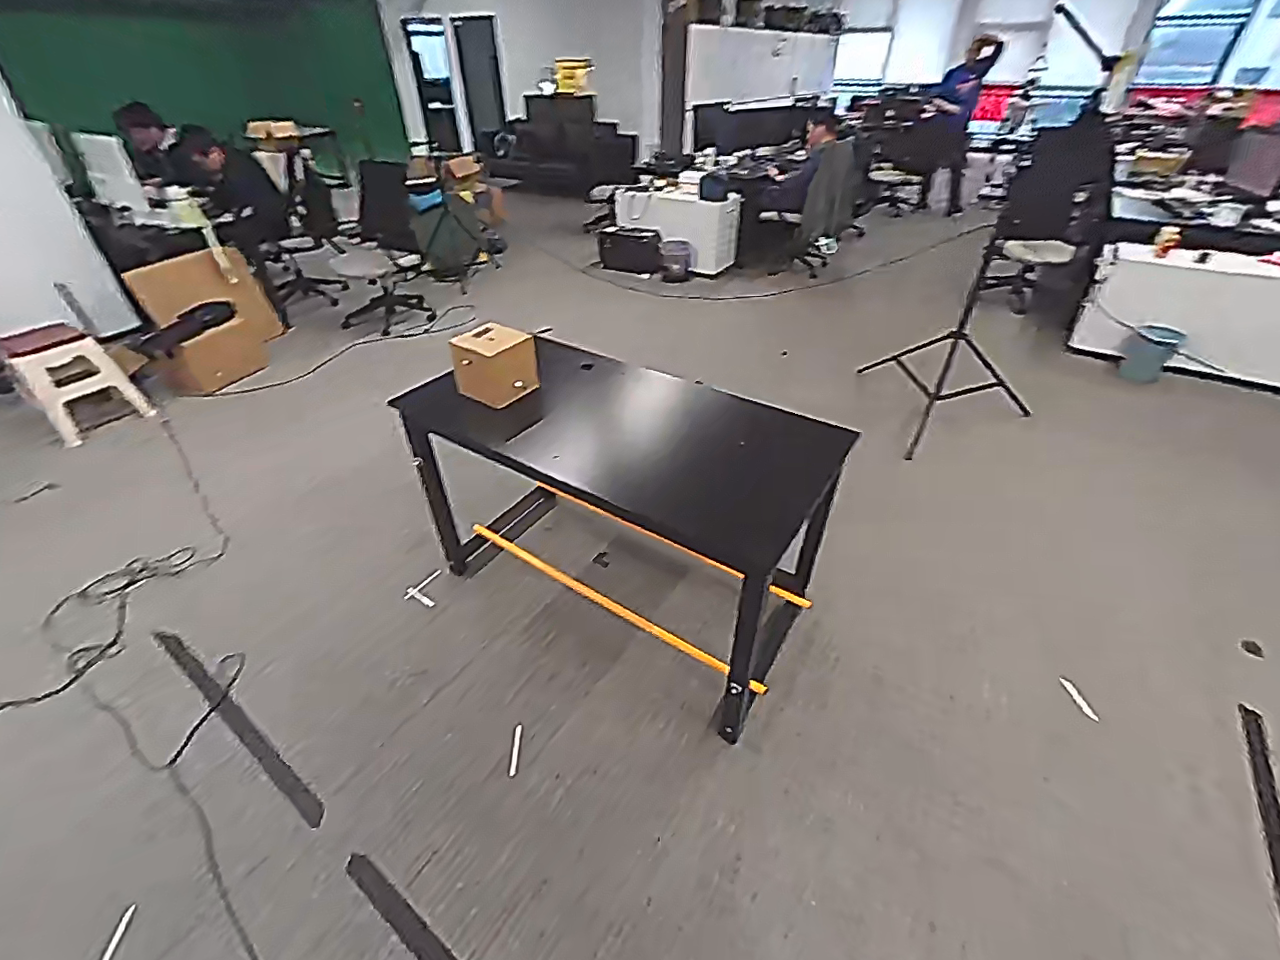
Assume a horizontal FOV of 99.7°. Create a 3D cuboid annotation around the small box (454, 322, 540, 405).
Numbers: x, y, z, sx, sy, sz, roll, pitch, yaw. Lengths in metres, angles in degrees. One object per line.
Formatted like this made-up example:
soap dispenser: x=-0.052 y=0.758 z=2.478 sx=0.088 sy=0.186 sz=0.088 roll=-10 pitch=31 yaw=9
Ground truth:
small box: x=-0.416 y=-0.343 z=1.595 sx=0.179 sy=0.176 sz=0.168 roll=24 pitch=44 yaw=26
